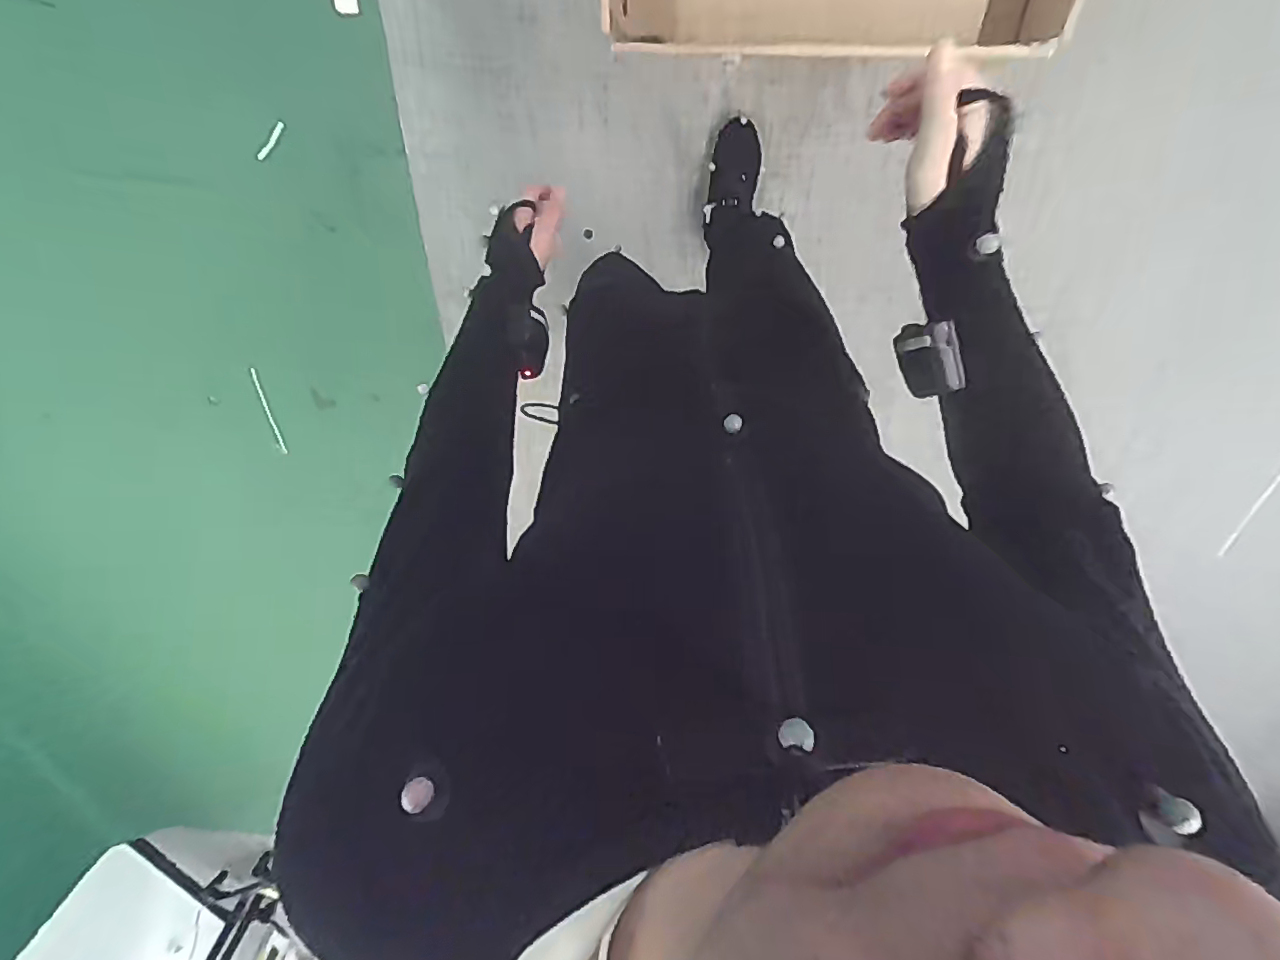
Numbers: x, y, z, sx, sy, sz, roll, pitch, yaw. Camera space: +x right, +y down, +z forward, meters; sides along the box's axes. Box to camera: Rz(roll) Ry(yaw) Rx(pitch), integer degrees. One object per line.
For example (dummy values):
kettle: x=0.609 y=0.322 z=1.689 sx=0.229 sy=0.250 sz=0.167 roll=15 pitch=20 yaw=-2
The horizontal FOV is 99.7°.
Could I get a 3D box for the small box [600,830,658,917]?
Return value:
small box: x=-0.028 y=1.227 z=1.688 sx=0.168 sy=0.176 sz=0.179 roll=0 pitch=124 yaw=4
